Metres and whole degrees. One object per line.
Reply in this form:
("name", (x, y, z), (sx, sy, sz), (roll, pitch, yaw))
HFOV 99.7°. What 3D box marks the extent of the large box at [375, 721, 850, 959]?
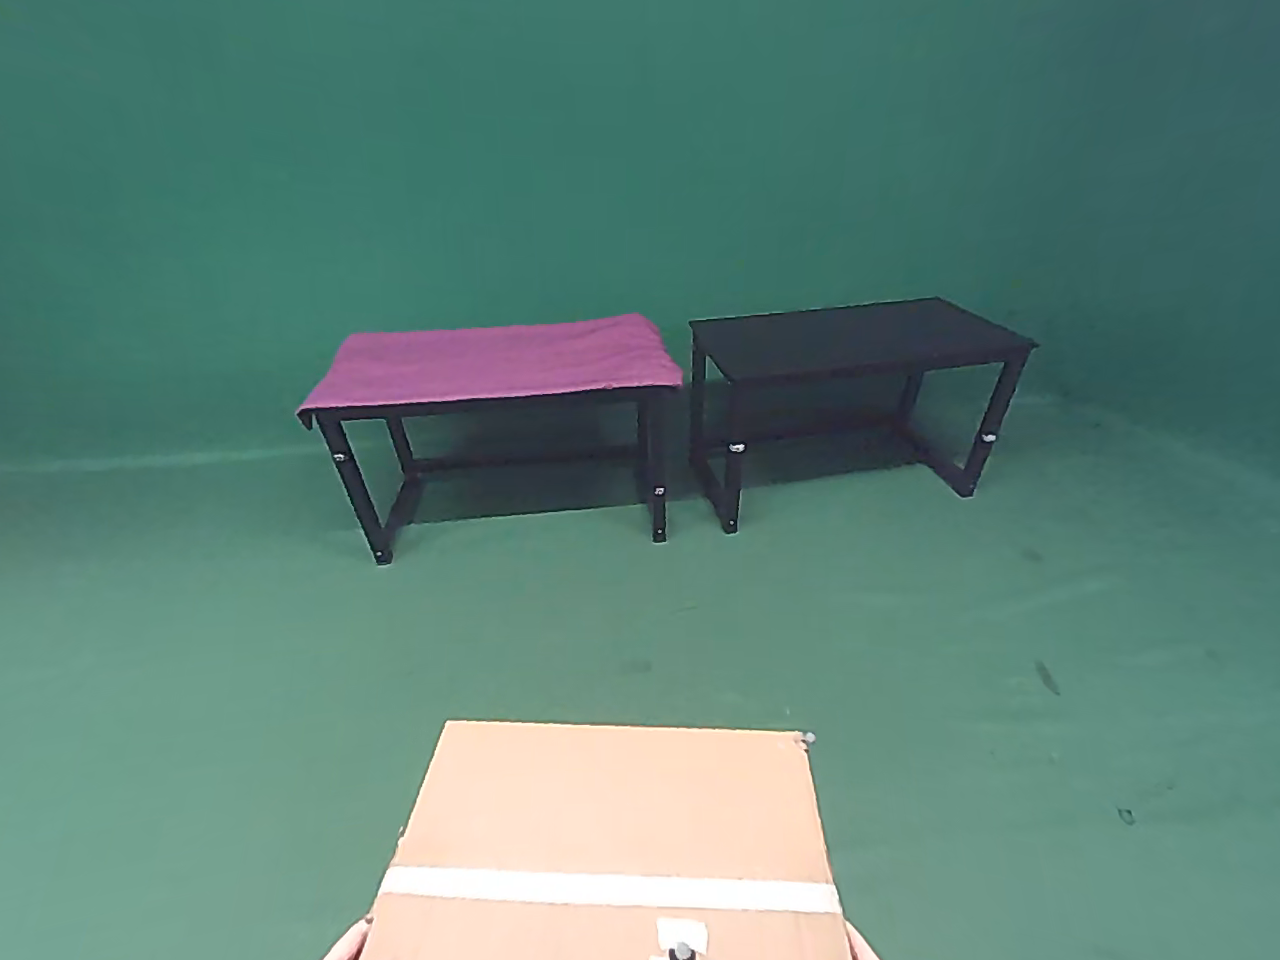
("large box", (-0.022, 0.490, 0.578), (0.408, 0.320, 0.320), (1, 35, 2))
